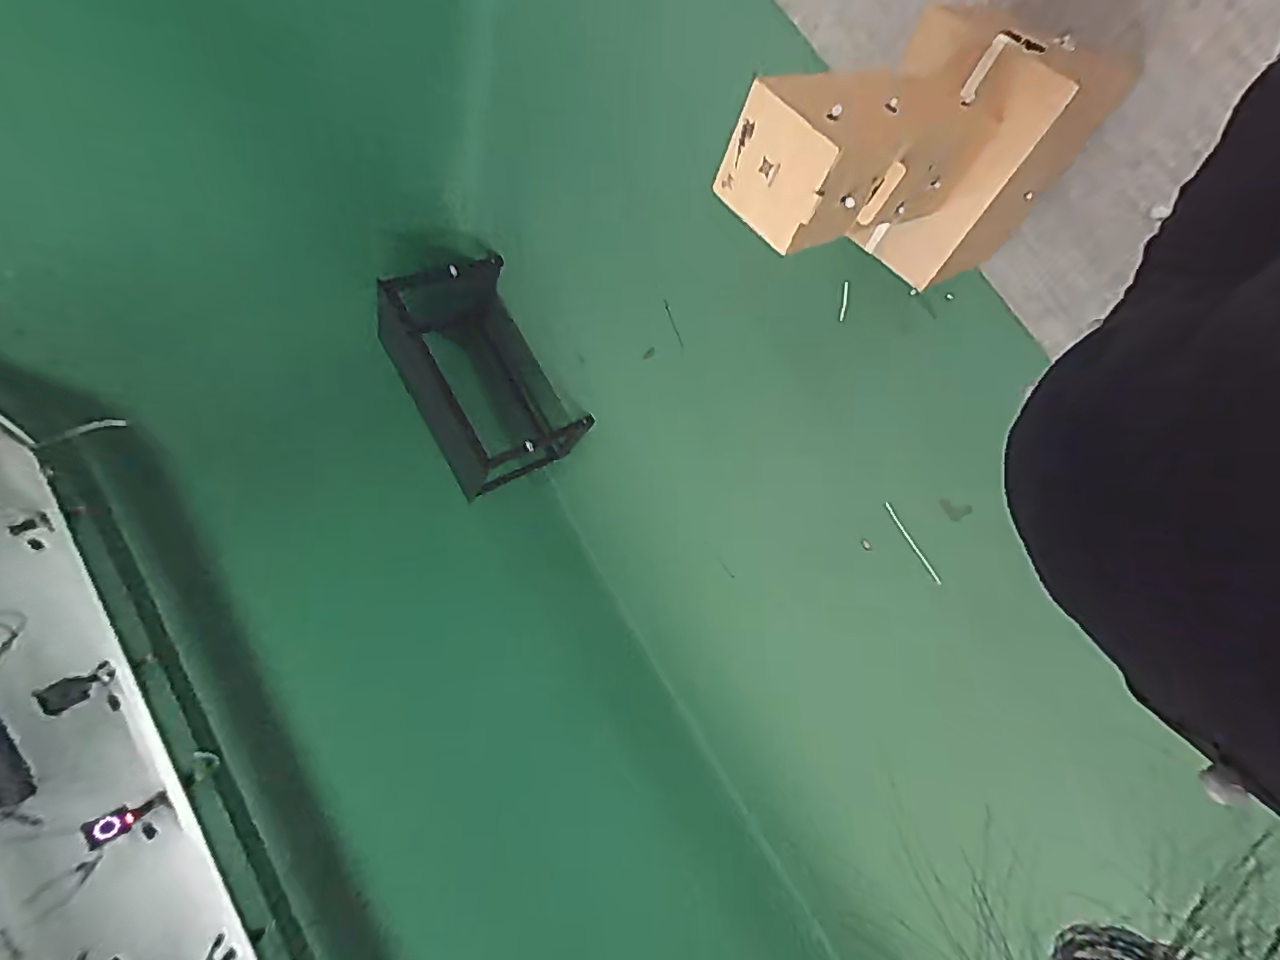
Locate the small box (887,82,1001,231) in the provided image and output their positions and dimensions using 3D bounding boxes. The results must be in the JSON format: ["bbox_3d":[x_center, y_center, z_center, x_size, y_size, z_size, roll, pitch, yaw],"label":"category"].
[{"bbox_3d":[0.516,-0.601,1.003,0.168,0.176,0.179,51,148,17],"label":"small box"}]

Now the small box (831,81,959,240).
[{"bbox_3d":[0.390,-0.545,0.915,0.179,0.176,0.168,53,149,16],"label":"small box"}]

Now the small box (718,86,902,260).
[{"bbox_3d":[0.261,-0.479,0.837,0.179,0.176,0.168,51,148,16],"label":"small box"}]

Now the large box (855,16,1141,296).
[{"bbox_3d":[0.700,-0.681,1.146,0.320,0.320,0.408,52,150,21],"label":"large box"}]
